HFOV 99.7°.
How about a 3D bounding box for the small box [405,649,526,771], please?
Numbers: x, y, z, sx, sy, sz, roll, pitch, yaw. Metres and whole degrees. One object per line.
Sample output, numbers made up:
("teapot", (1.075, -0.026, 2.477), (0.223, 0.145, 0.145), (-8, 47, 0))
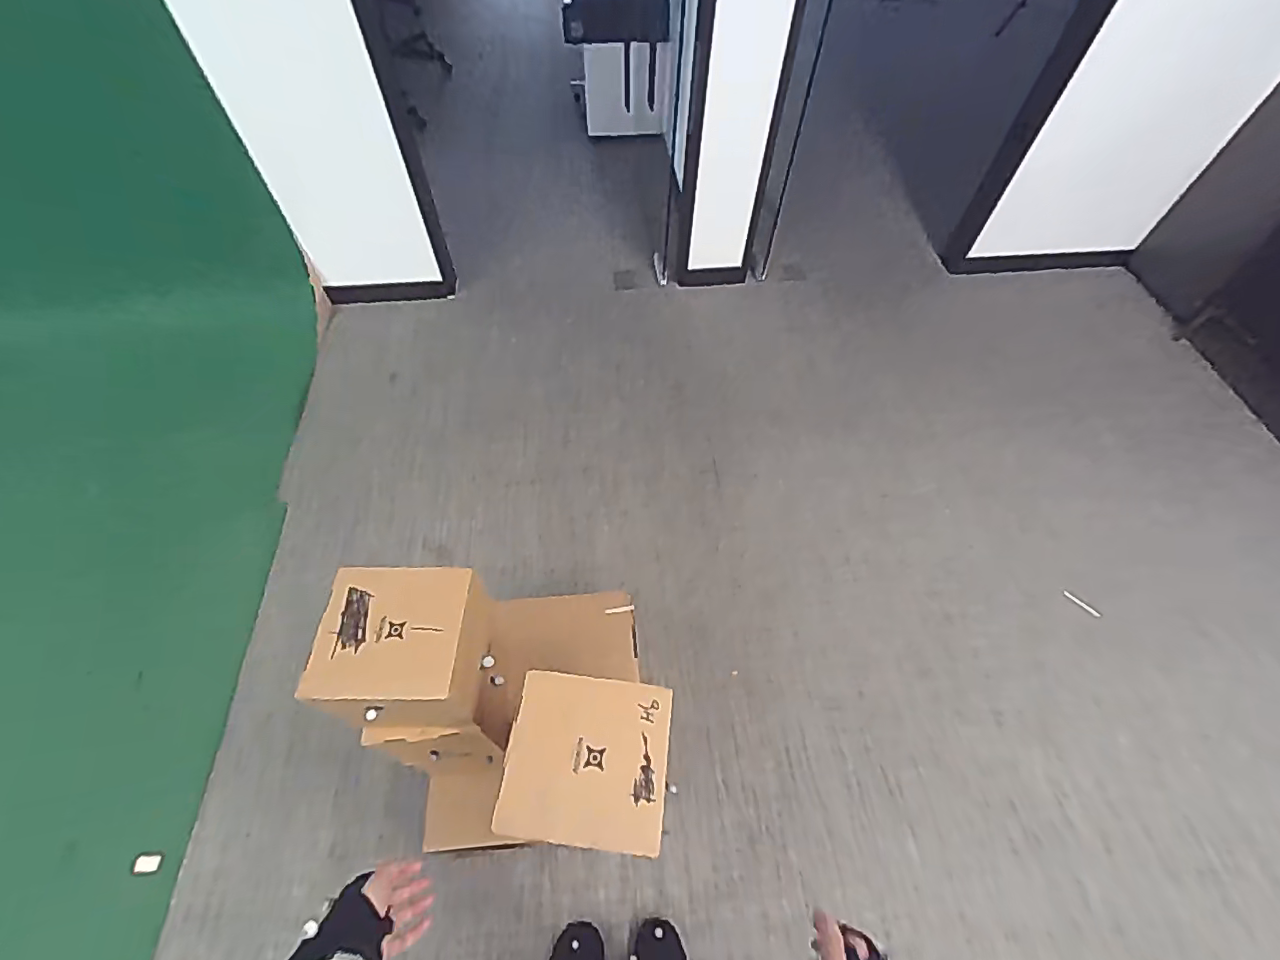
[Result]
("small box", (-0.304, 0.423, 0.990), (0.179, 0.176, 0.168), (-5, 54, -4))

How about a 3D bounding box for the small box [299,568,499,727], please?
("small box", (-0.303, 0.229, 0.726), (0.179, 0.176, 0.168), (1, 56, -1))

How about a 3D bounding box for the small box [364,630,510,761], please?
("small box", (-0.305, 0.331, 0.856), (0.168, 0.176, 0.179), (-3, 56, -3))

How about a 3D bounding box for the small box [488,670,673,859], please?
("small box", (-0.058, 0.345, 0.650), (0.179, 0.176, 0.168), (7, 56, 4))
